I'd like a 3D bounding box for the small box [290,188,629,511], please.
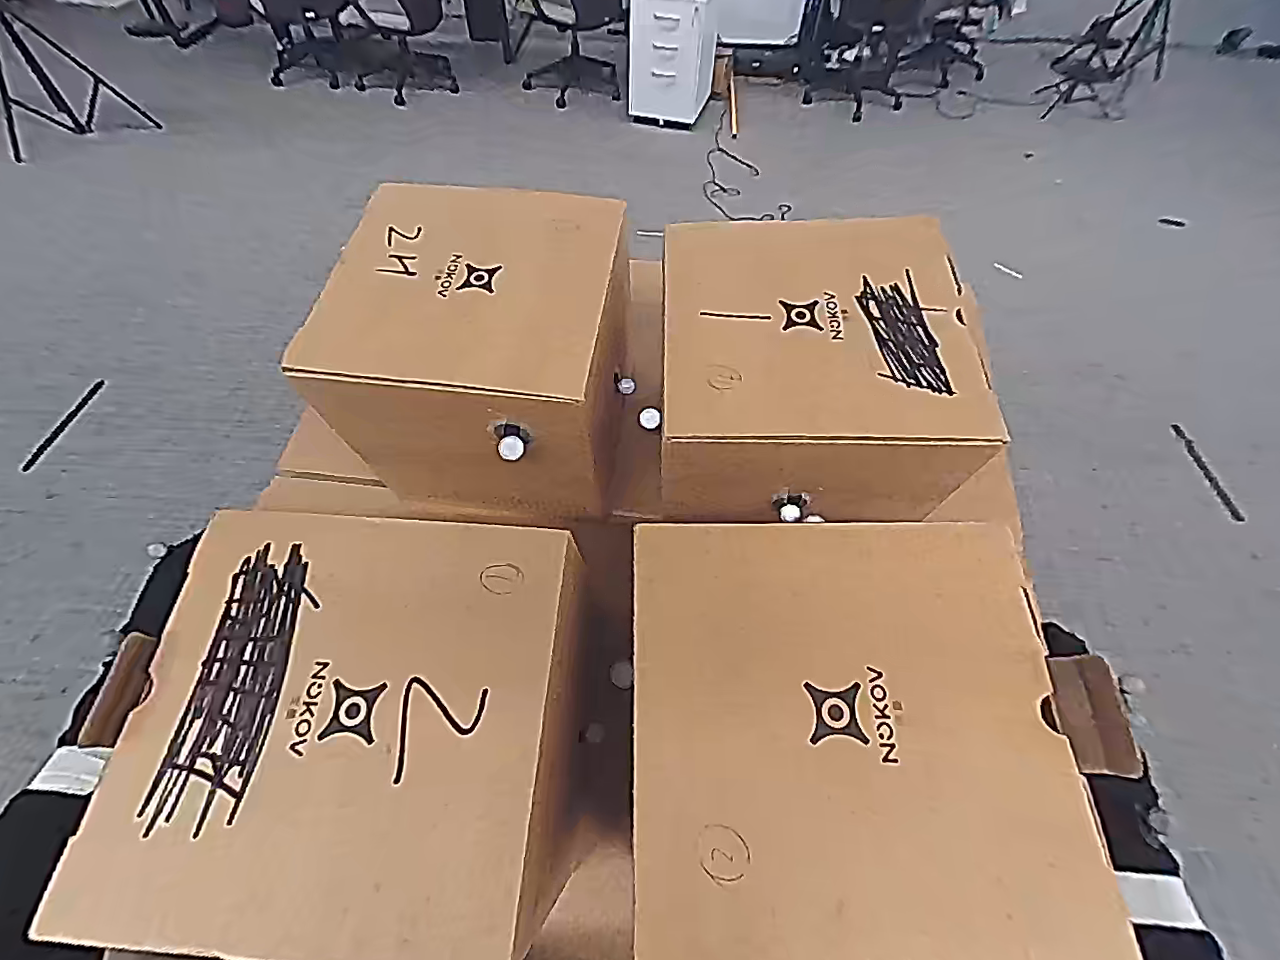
[{"bbox_3d":[-0.106,-0.088,0.414,0.179,0.176,0.168,7,62,5],"label":"small box"}]
